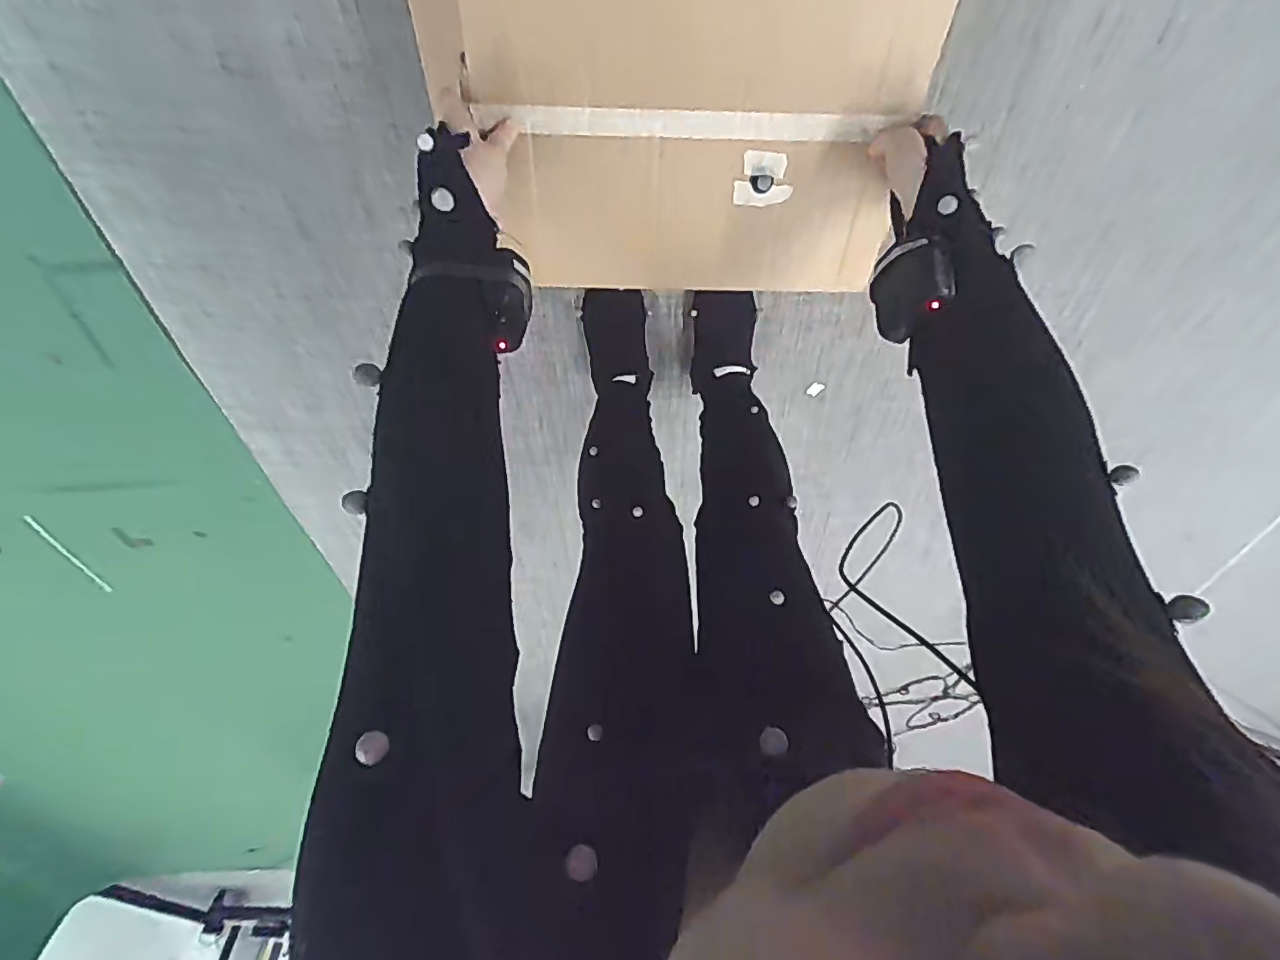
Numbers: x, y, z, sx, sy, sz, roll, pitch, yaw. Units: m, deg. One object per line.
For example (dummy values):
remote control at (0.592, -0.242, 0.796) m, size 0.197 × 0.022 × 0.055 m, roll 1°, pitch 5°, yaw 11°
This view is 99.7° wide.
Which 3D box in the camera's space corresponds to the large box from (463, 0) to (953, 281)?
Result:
large box at (0.047, -0.432, 0.595) m, size 0.408 × 0.320 × 0.320 m, roll -1°, pitch 134°, yaw -4°
